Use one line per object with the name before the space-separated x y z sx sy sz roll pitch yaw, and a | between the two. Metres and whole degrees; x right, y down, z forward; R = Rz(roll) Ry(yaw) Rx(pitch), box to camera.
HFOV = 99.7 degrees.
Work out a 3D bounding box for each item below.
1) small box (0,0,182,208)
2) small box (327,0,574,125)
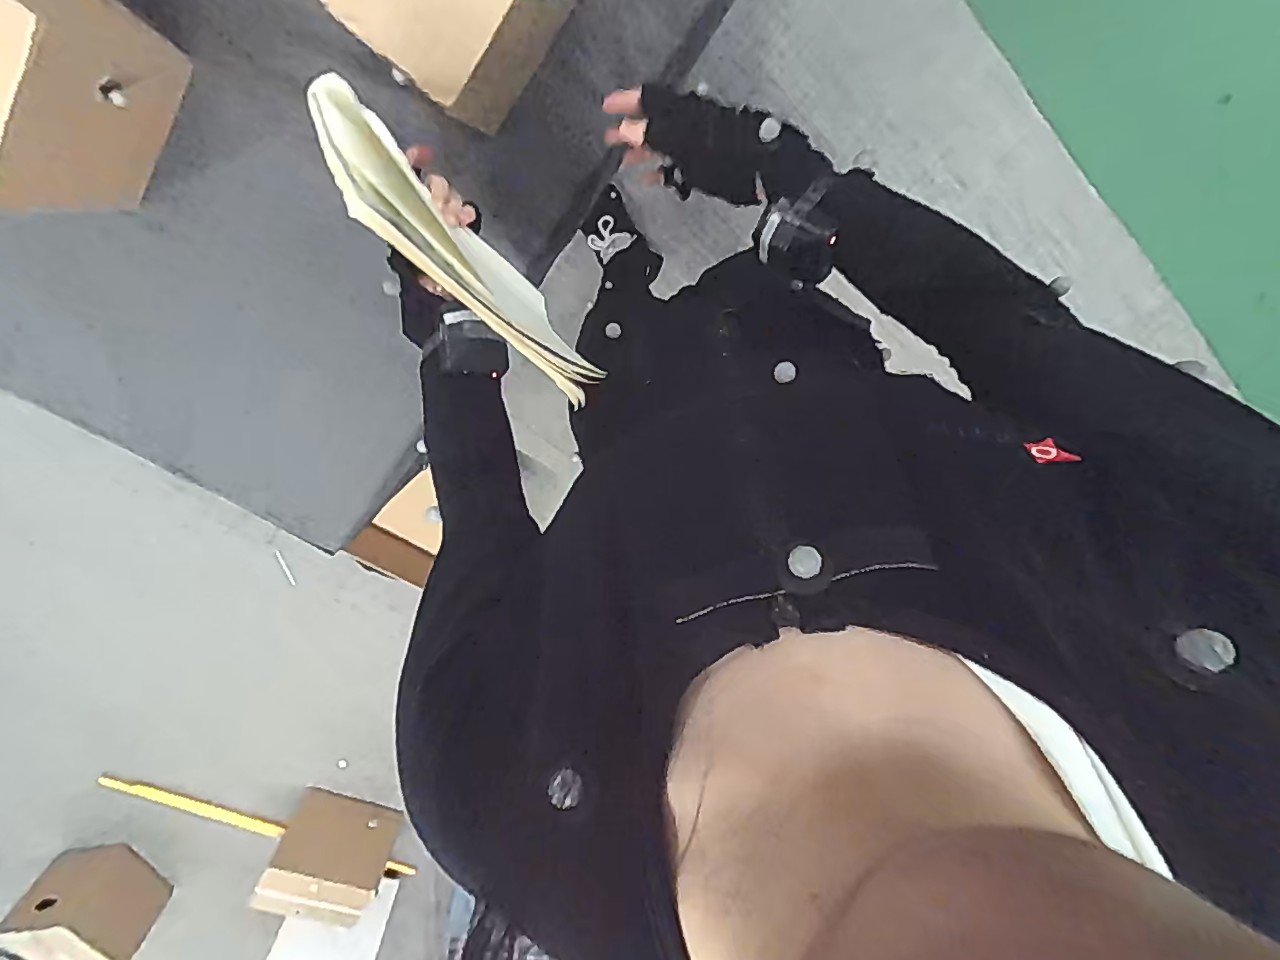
small box | -0.558 -0.368 0.470 0.168 0.176 0.179 38 109 -19
small box | -0.158 -0.435 0.445 0.168 0.176 0.179 37 112 -17
